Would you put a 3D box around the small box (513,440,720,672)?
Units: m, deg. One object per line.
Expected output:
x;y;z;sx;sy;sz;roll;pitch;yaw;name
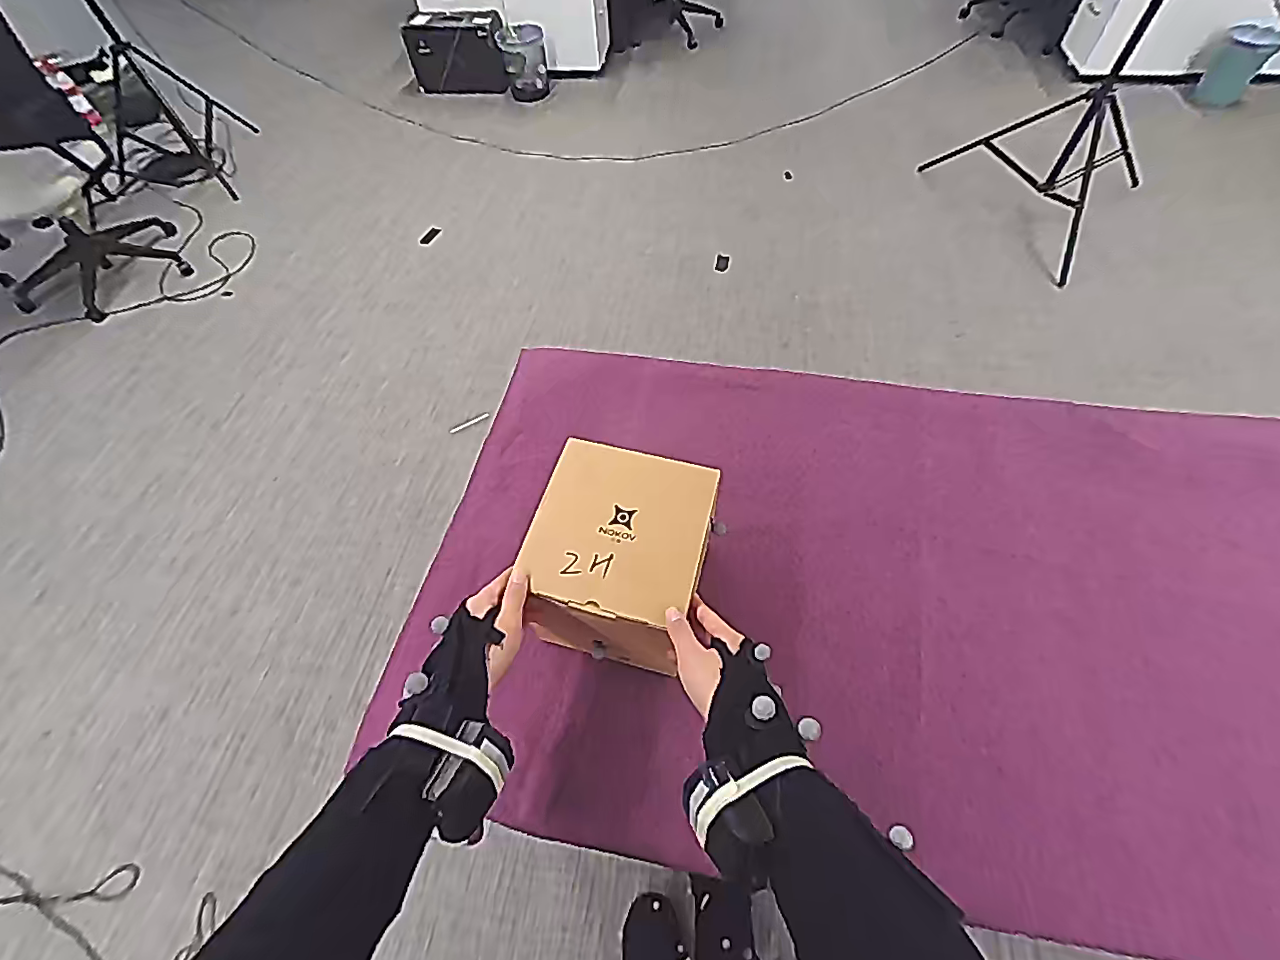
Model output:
-0.017;0.087;0.592;0.168;0.176;0.179;12;59;9;small box
